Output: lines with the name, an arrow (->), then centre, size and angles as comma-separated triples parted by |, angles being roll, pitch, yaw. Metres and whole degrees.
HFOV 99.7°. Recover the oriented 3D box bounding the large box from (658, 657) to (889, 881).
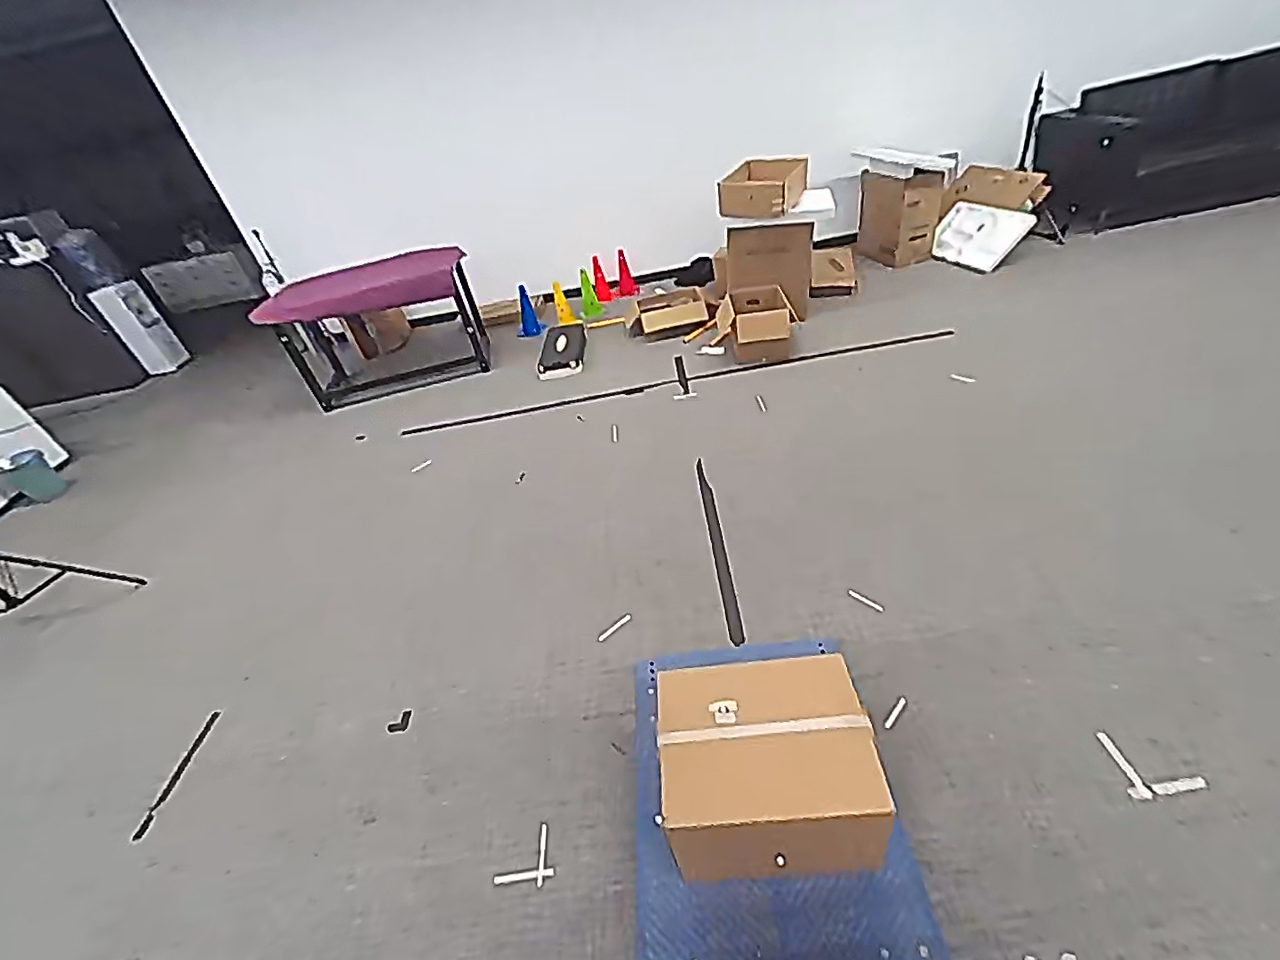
large box -> 0.267, 0.624, 1.166 | 0.408, 0.320, 0.320 | -9, 36, 6
